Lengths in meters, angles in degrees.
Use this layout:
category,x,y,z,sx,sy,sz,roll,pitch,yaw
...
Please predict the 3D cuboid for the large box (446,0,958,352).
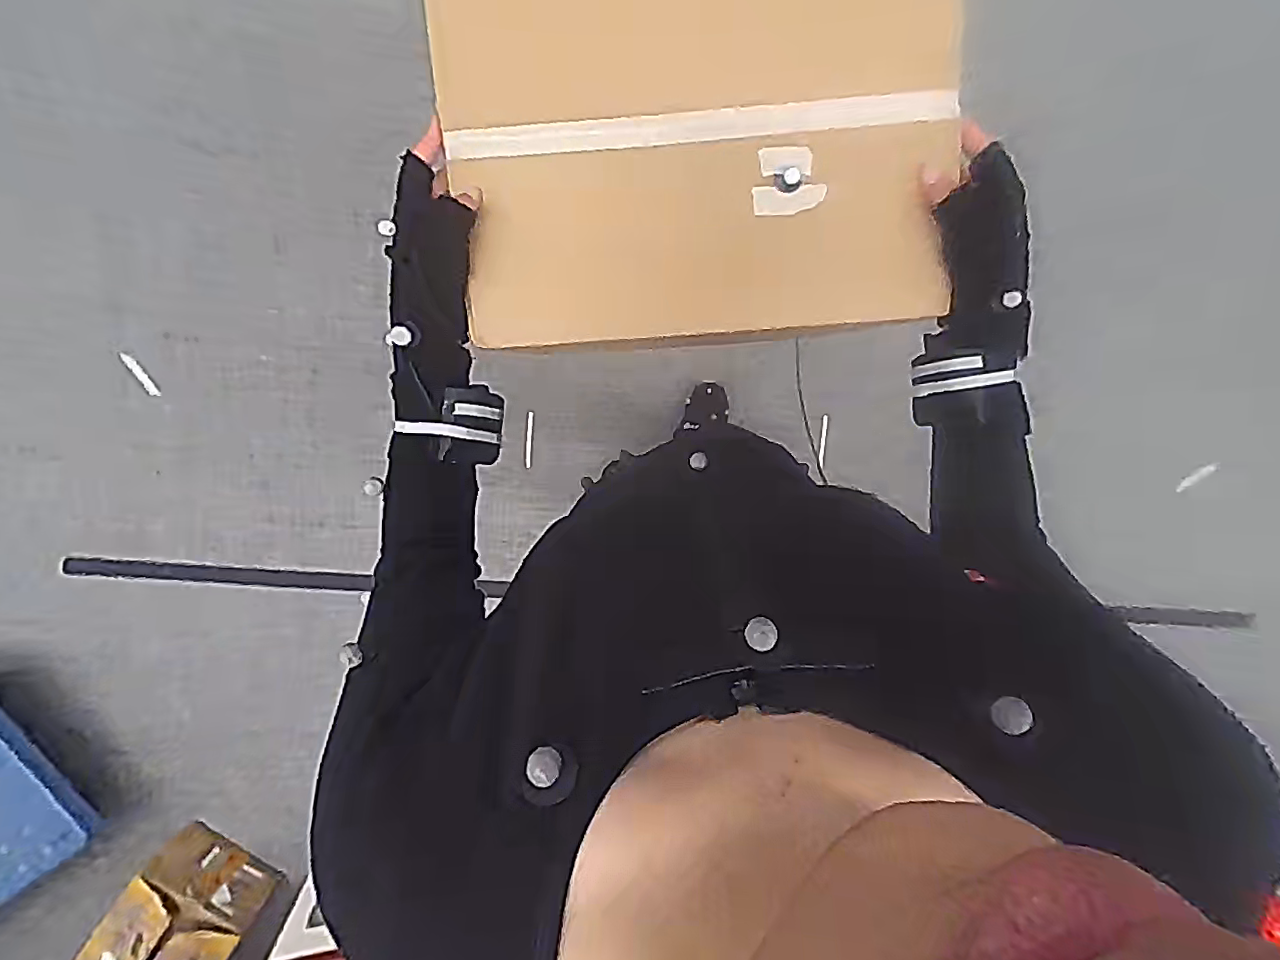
category,x,y,z,sx,sy,sz,roll,pitch,yaw
large box,0.051,-0.316,0.583,0.408,0.320,0.320,-4,102,0
